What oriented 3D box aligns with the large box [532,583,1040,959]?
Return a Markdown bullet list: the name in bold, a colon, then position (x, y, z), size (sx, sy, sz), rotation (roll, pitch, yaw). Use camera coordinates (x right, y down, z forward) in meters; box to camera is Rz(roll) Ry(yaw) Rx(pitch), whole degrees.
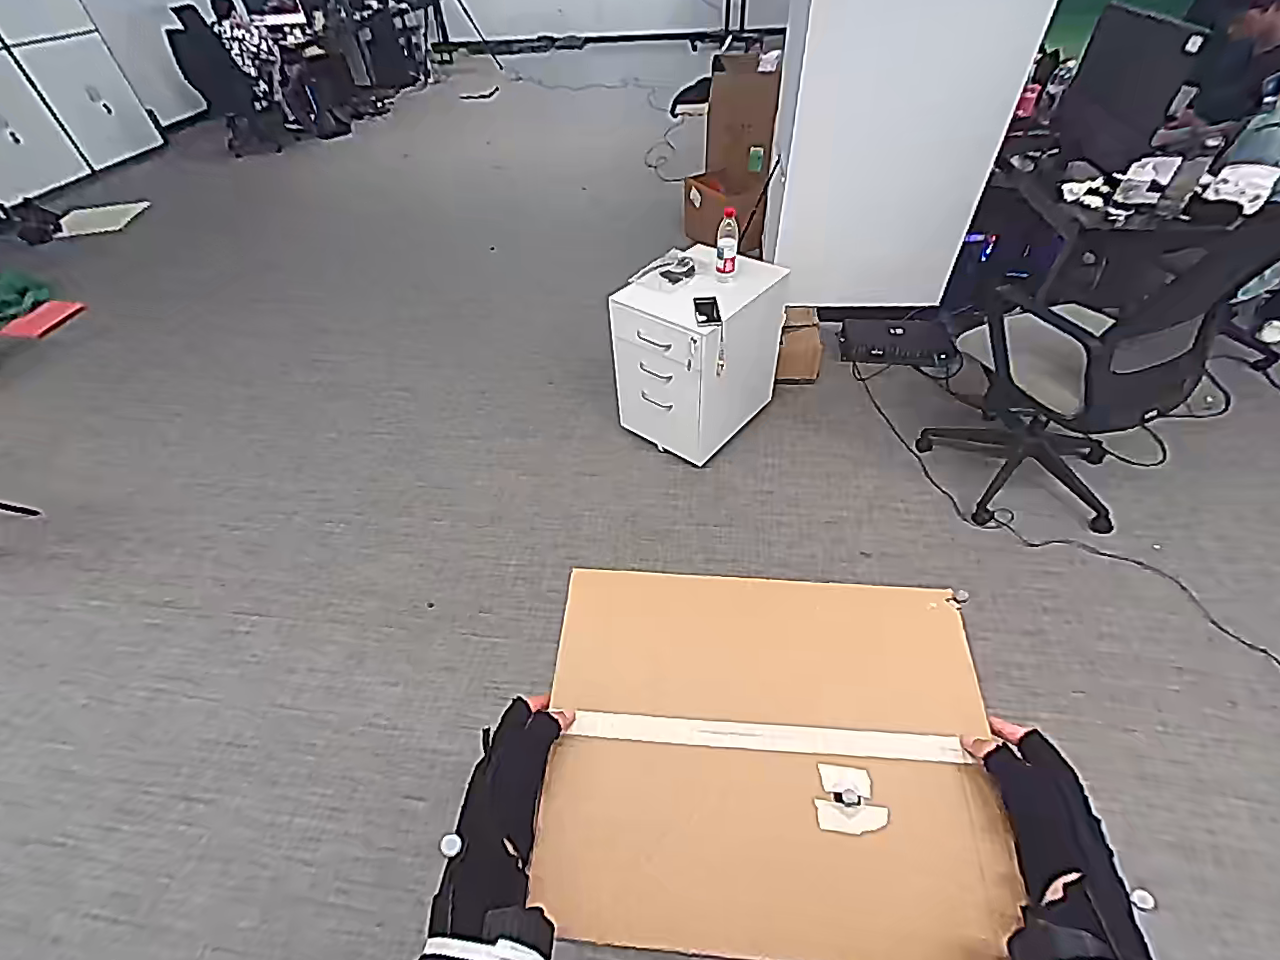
- **large box**: position (0.120, 0.331, 0.626), size (0.408, 0.320, 0.320), rotation (2, 56, 4)
